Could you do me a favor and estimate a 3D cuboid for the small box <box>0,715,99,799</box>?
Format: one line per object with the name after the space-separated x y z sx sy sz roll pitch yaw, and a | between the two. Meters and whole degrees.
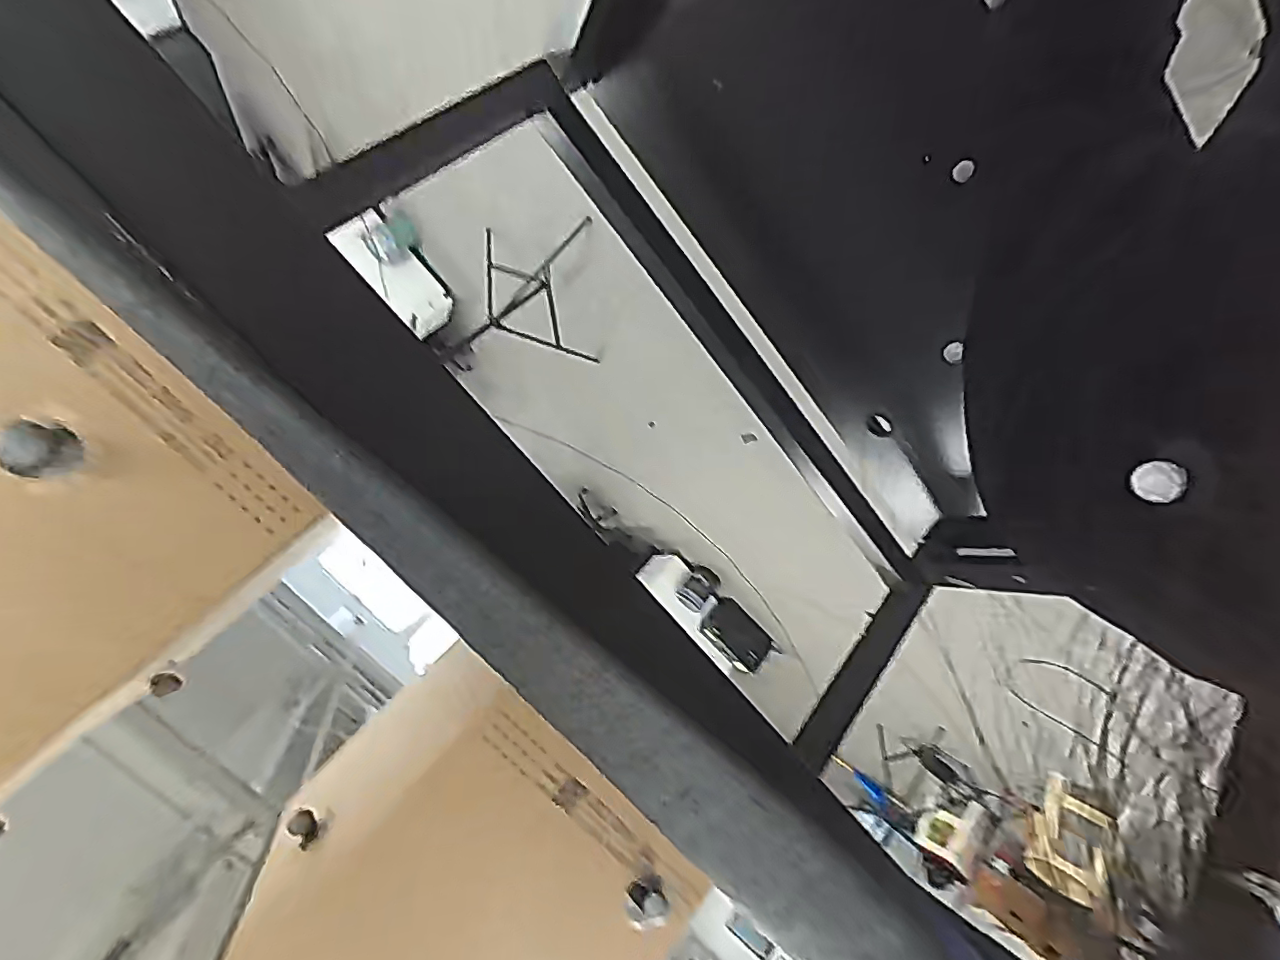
-0.383 0.121 0.208 0.168 0.176 0.179 50 158 -14 | small box

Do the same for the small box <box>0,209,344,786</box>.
-0.275 0.013 0.265 0.168 0.176 0.179 49 159 -14 | small box
